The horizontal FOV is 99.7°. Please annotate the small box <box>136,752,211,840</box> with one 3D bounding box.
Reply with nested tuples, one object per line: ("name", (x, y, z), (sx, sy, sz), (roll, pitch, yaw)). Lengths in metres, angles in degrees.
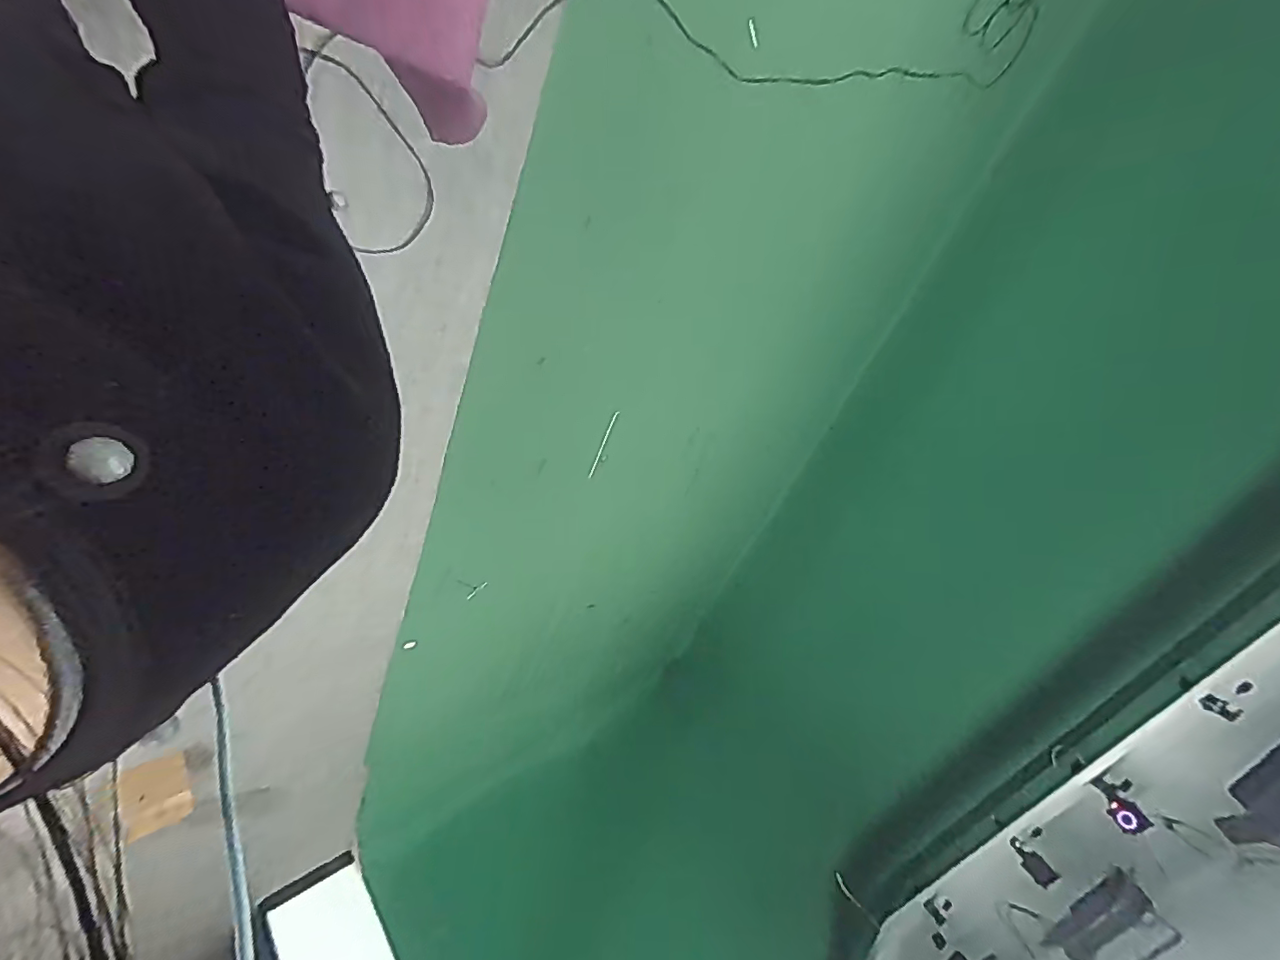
("small box", (-1.646, 1.108, 1.906), (0.179, 0.176, 0.168), (-13, 134, -45))
